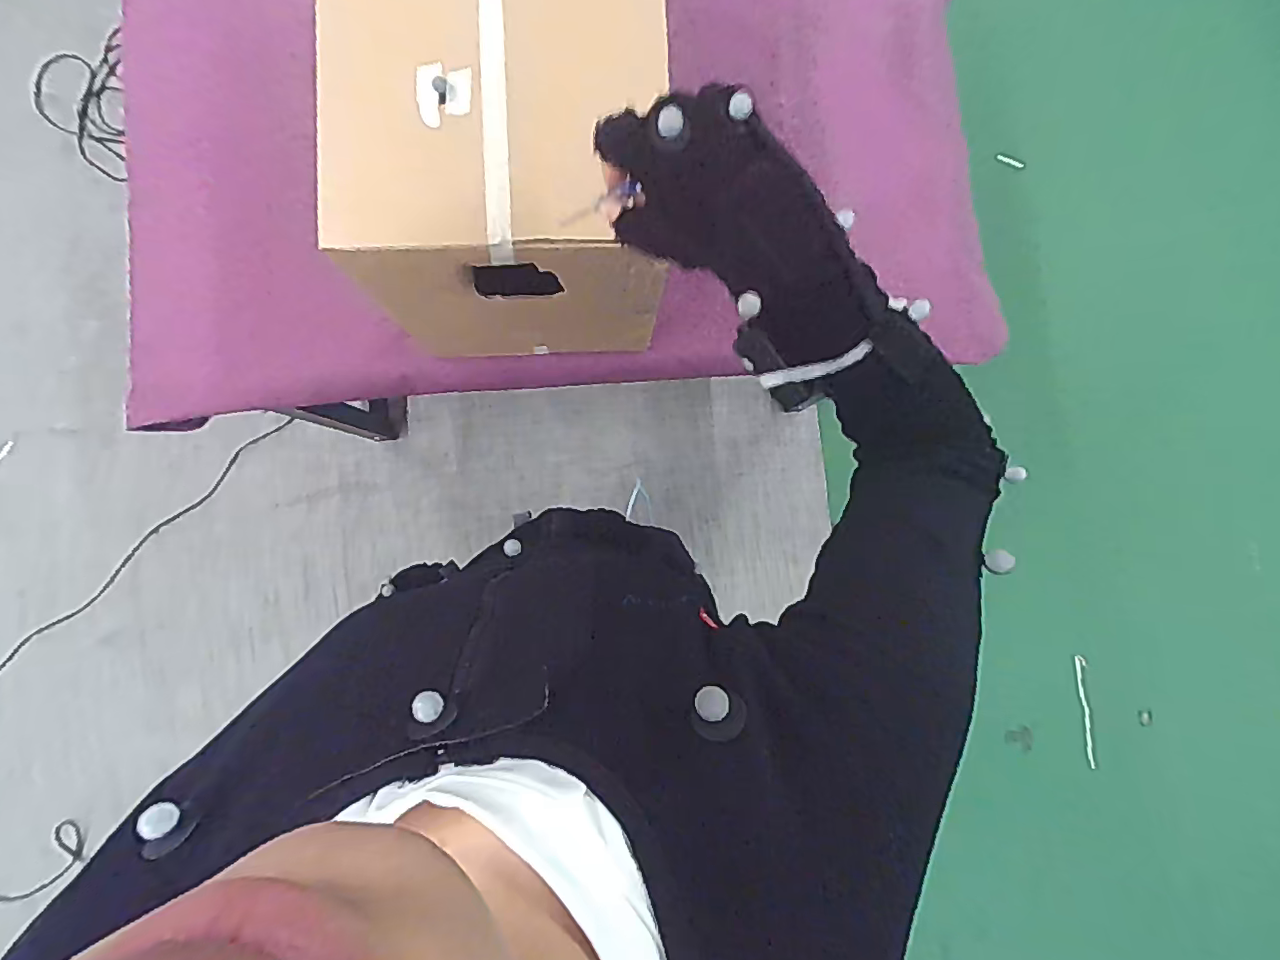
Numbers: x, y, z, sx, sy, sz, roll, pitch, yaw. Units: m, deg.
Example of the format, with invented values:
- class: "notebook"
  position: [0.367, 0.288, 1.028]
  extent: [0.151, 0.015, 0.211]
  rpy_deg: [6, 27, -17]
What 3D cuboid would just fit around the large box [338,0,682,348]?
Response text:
- class: "large box"
  position: [-0.134, -0.400, 0.651]
  extent: [0.320, 0.320, 0.408]
  rpy_deg: [-2, 87, -4]
